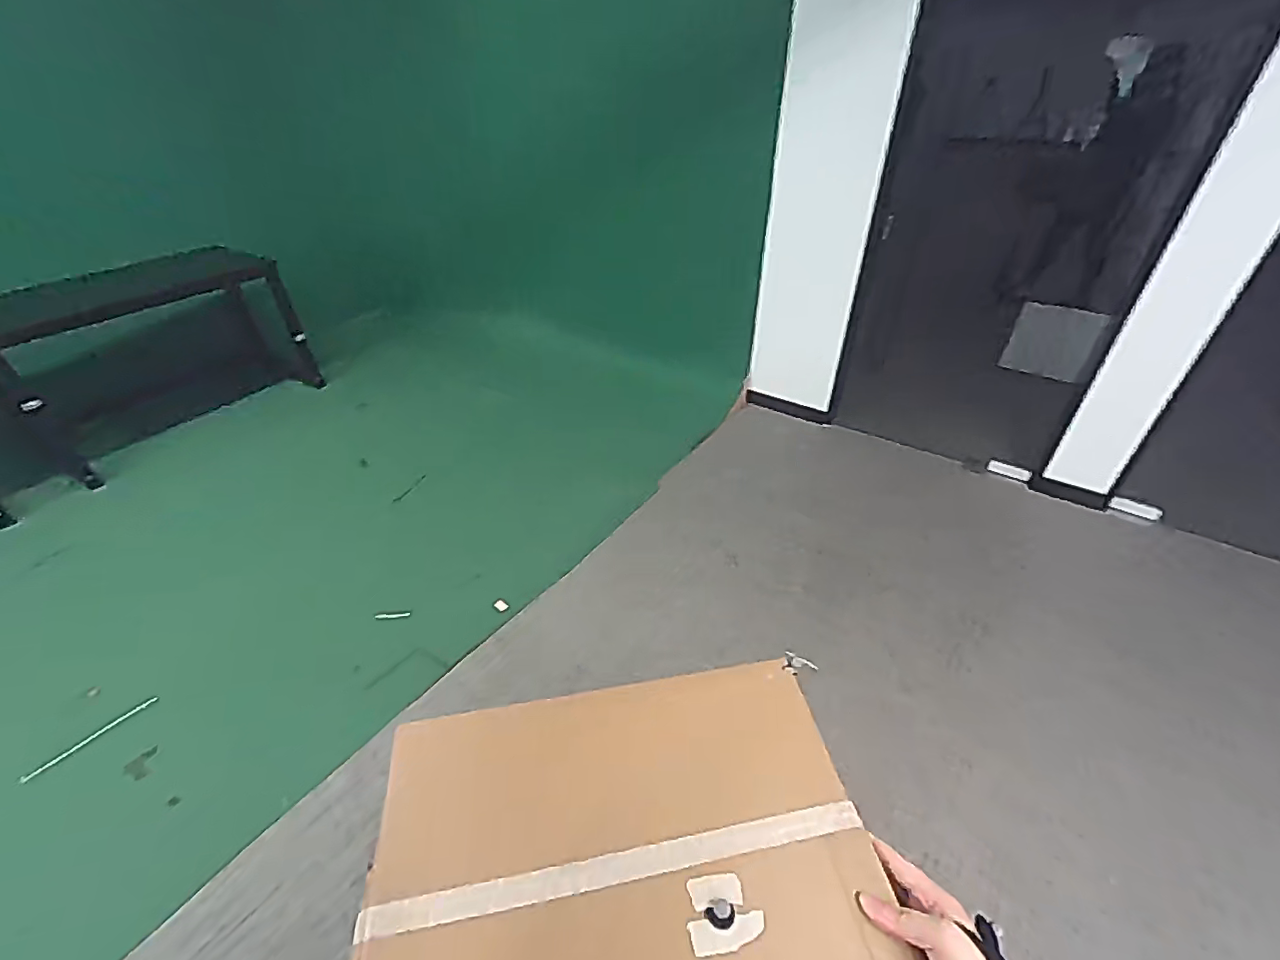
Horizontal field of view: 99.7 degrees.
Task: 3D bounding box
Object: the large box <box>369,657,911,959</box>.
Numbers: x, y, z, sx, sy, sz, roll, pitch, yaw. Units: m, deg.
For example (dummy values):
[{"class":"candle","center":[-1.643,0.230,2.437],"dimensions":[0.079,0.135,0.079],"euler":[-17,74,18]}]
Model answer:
[{"class":"large box","center":[-0.017,0.429,0.547],"dimensions":[0.408,0.320,0.320],"euler":[-6,41,-9]}]
